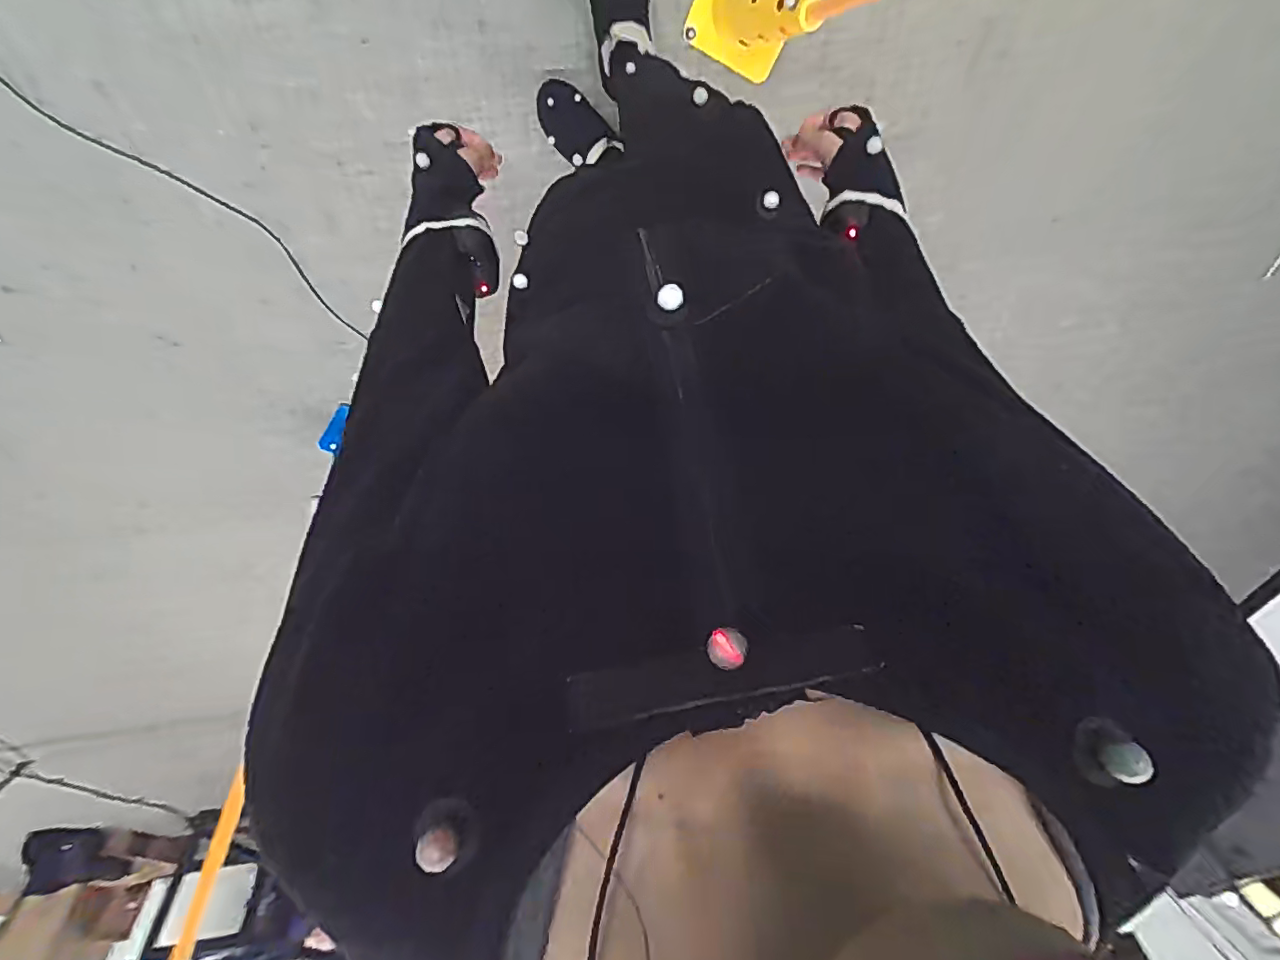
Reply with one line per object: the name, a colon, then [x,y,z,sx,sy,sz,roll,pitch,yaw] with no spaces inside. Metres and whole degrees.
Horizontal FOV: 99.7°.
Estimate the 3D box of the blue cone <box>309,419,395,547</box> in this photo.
blue cone: [-0.826,0.030,1.491,0.192,0.380,0.193,28,125,-32]
